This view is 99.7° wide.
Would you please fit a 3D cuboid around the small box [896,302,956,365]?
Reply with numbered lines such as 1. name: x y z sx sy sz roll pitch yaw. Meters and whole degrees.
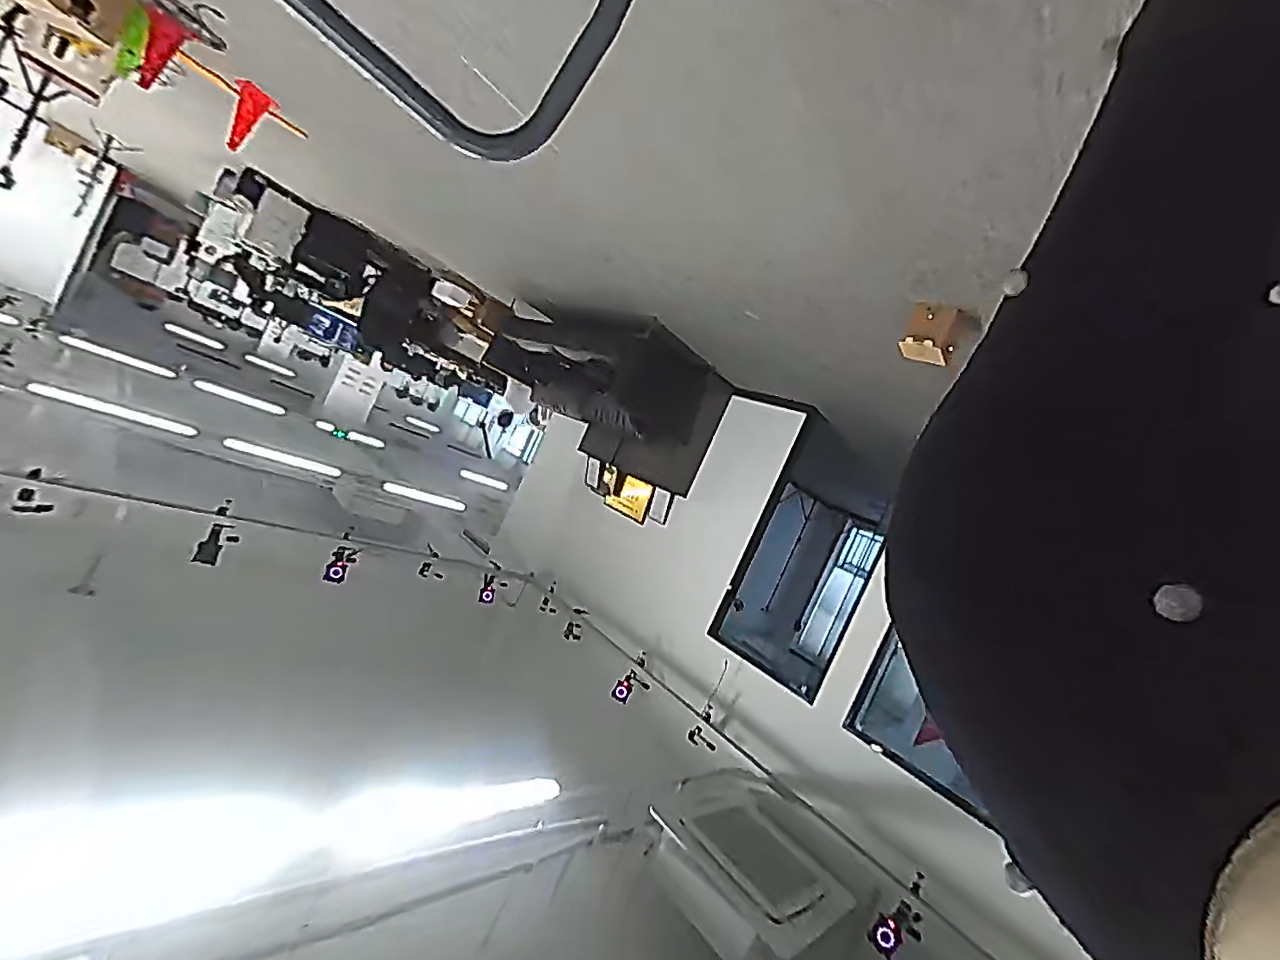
1. small box: 1.154 -0.592 2.181 0.168 0.176 0.179 22 178 31
